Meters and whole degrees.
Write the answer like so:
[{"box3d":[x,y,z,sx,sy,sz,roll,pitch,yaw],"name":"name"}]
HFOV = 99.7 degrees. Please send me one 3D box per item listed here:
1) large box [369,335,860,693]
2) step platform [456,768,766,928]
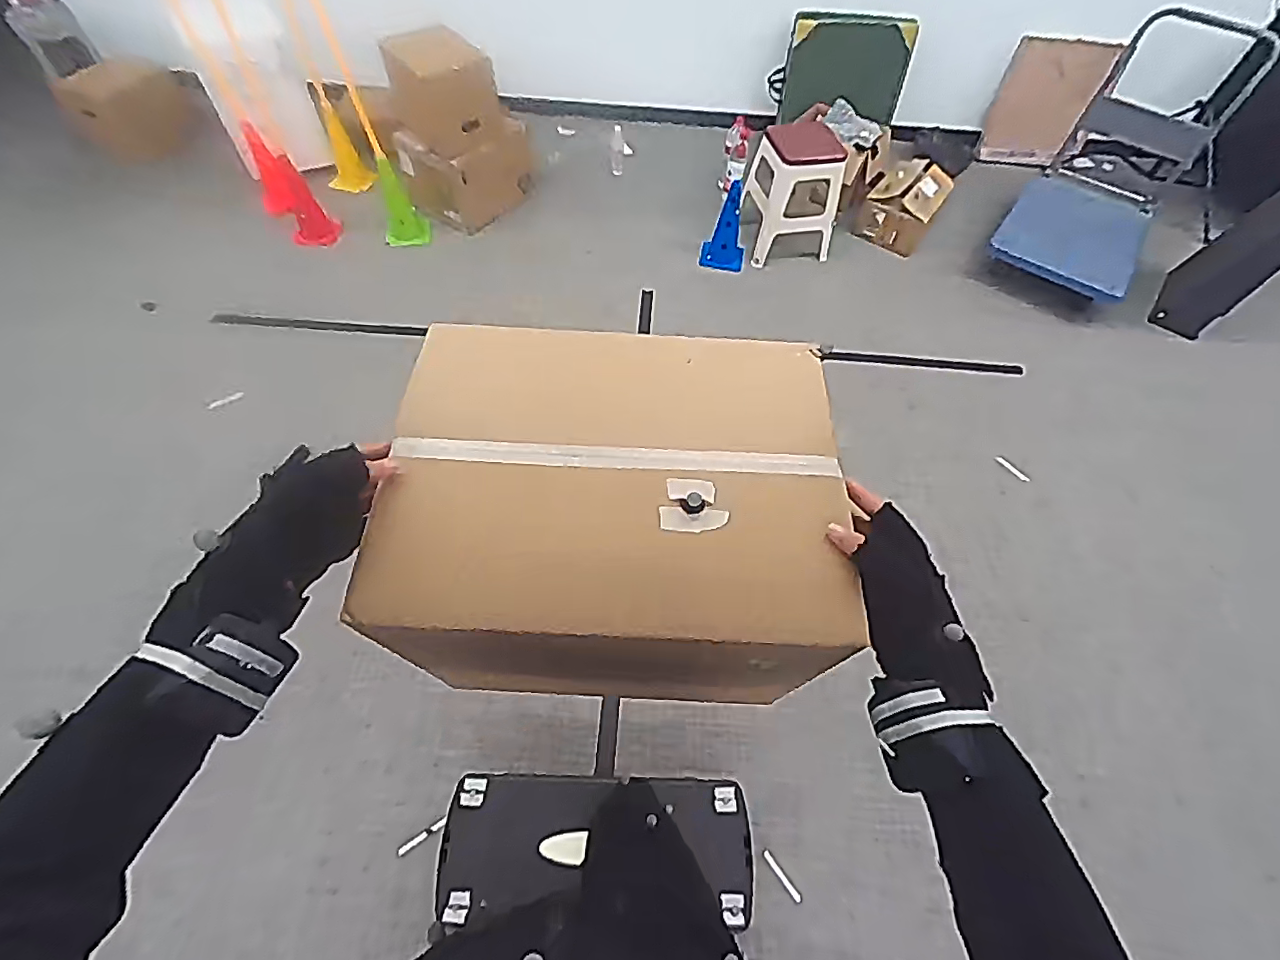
[{"box3d":[-0.022,0.059,0.633,0.408,0.320,0.320,3,61,-1],"name":"large box"},{"box3d":[-0.061,0.834,1.242,0.684,0.204,0.286,3,57,-2],"name":"step platform"}]
